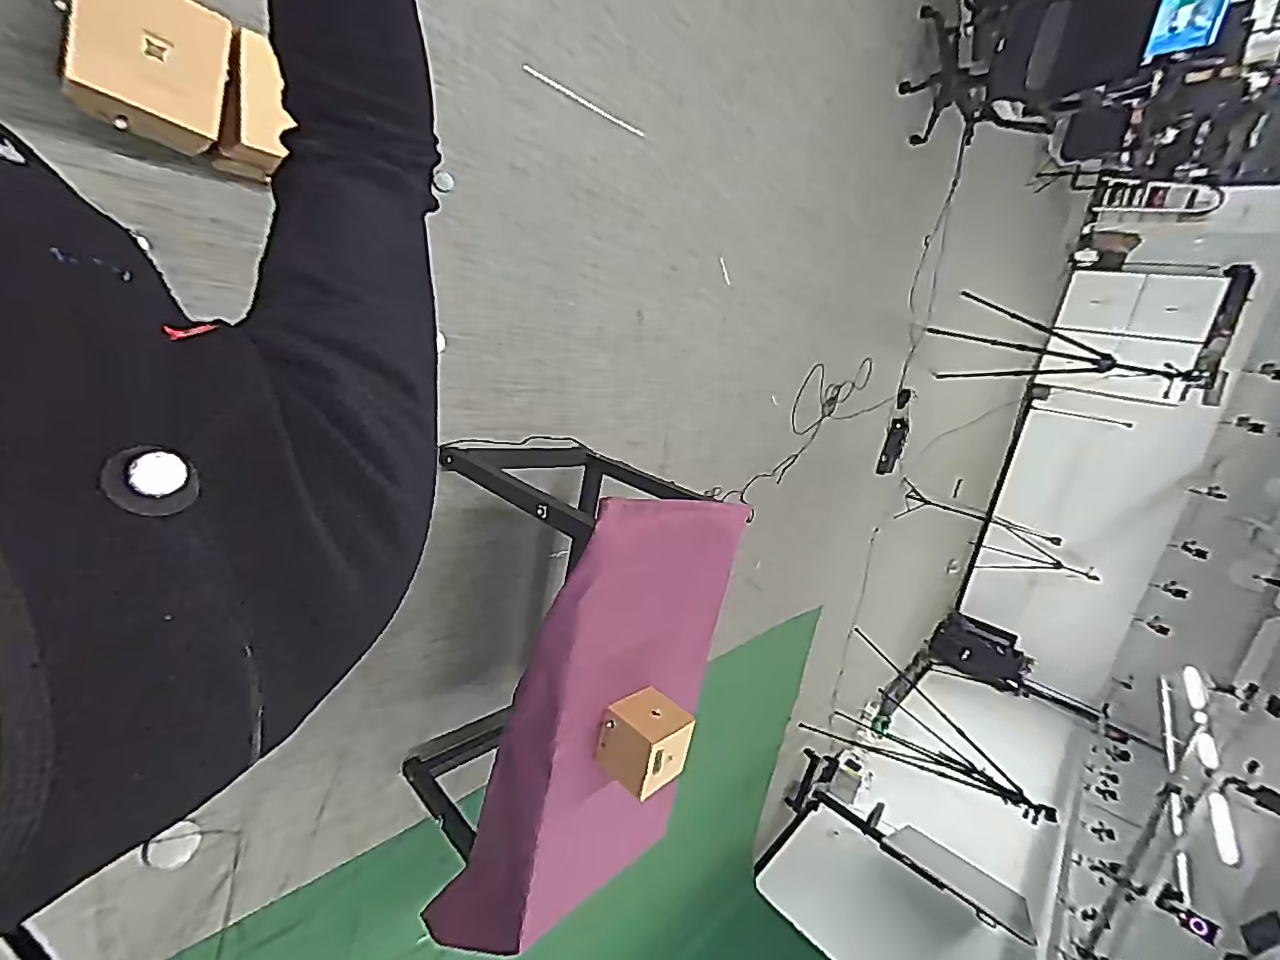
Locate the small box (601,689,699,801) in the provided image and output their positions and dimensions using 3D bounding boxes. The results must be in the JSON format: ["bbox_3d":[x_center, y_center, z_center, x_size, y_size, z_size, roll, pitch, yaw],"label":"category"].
[{"bbox_3d":[0.022,0.676,1.404,0.179,0.176,0.168,-2,108,-49],"label":"small box"}]
